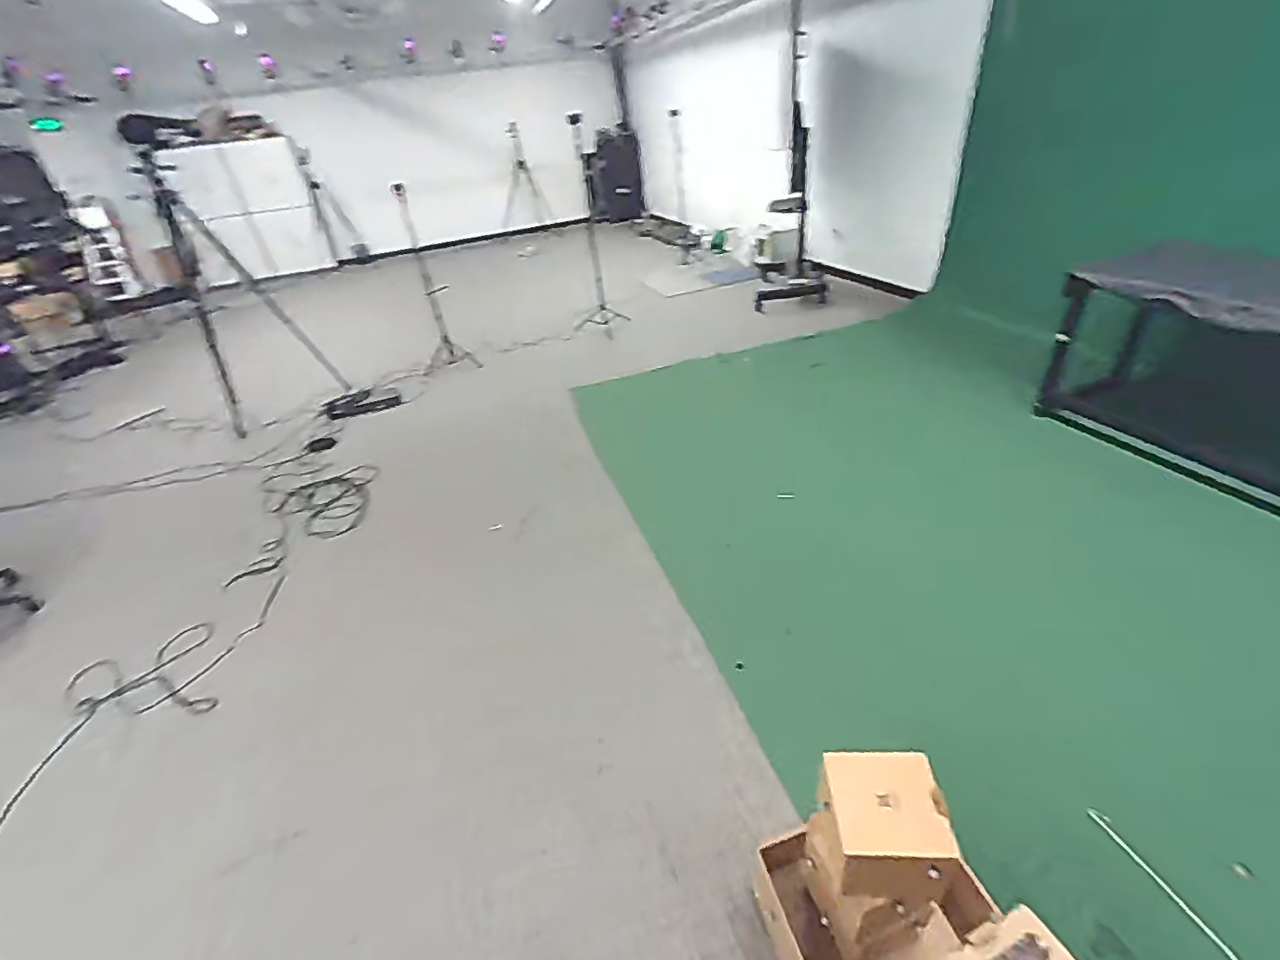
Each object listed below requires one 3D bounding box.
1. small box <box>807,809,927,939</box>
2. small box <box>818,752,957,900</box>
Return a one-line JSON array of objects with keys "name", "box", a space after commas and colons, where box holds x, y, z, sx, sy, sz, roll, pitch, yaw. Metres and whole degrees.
[{"name": "small box", "box": [0.434, 0.727, 1.030, 0.179, 0.176, 0.168, -14, 36, -11]}, {"name": "small box", "box": [0.411, 0.597, 0.935, 0.179, 0.176, 0.168, -2, 35, 7]}]
